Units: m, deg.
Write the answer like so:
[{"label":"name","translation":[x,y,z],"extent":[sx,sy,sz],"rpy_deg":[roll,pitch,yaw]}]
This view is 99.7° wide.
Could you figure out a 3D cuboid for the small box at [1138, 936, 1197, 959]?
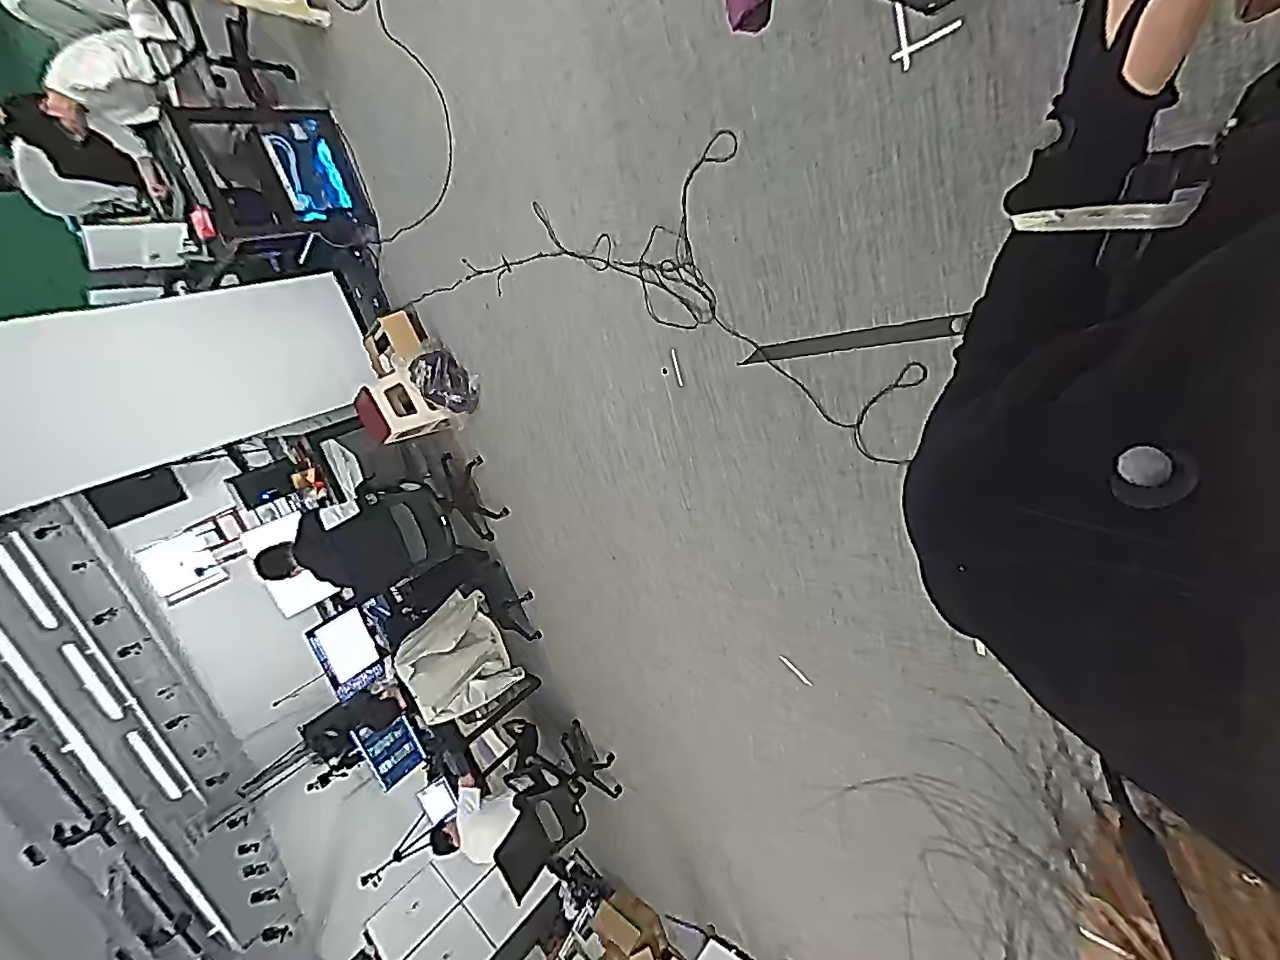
[{"label":"small box","translation":[1.262,1.217,1.240],"extent":[0.179,0.176,0.168],"rpy_deg":[1,114,47]}]
